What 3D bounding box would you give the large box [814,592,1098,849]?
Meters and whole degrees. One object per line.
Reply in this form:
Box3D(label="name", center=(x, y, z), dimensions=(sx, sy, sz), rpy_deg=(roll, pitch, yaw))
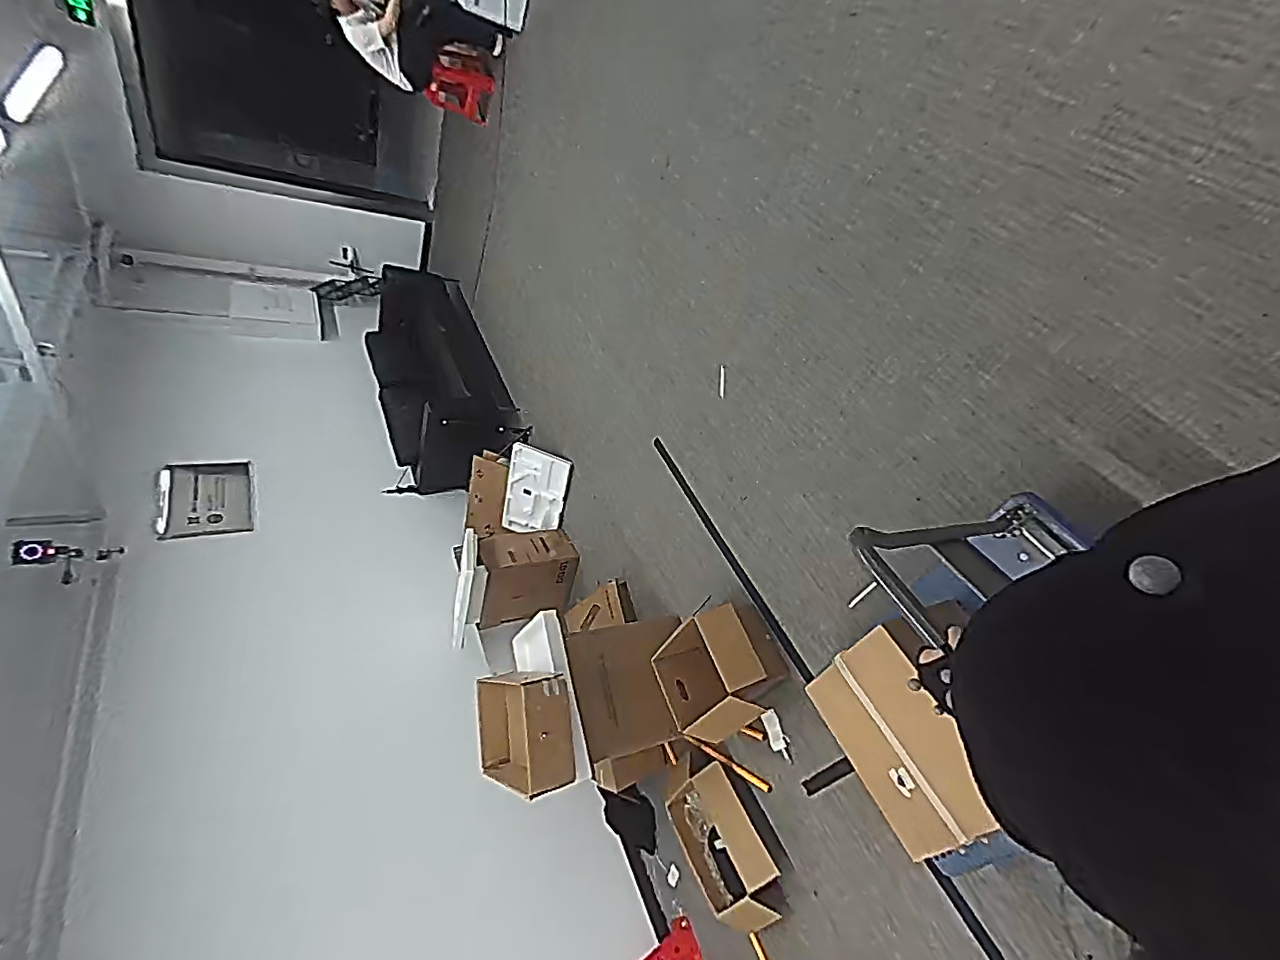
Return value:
Box3D(label="large box", center=(0.697, 0.527, 1.242), dimensions=(0.408, 0.320, 0.320), rpy_deg=(59, 139, 34))
